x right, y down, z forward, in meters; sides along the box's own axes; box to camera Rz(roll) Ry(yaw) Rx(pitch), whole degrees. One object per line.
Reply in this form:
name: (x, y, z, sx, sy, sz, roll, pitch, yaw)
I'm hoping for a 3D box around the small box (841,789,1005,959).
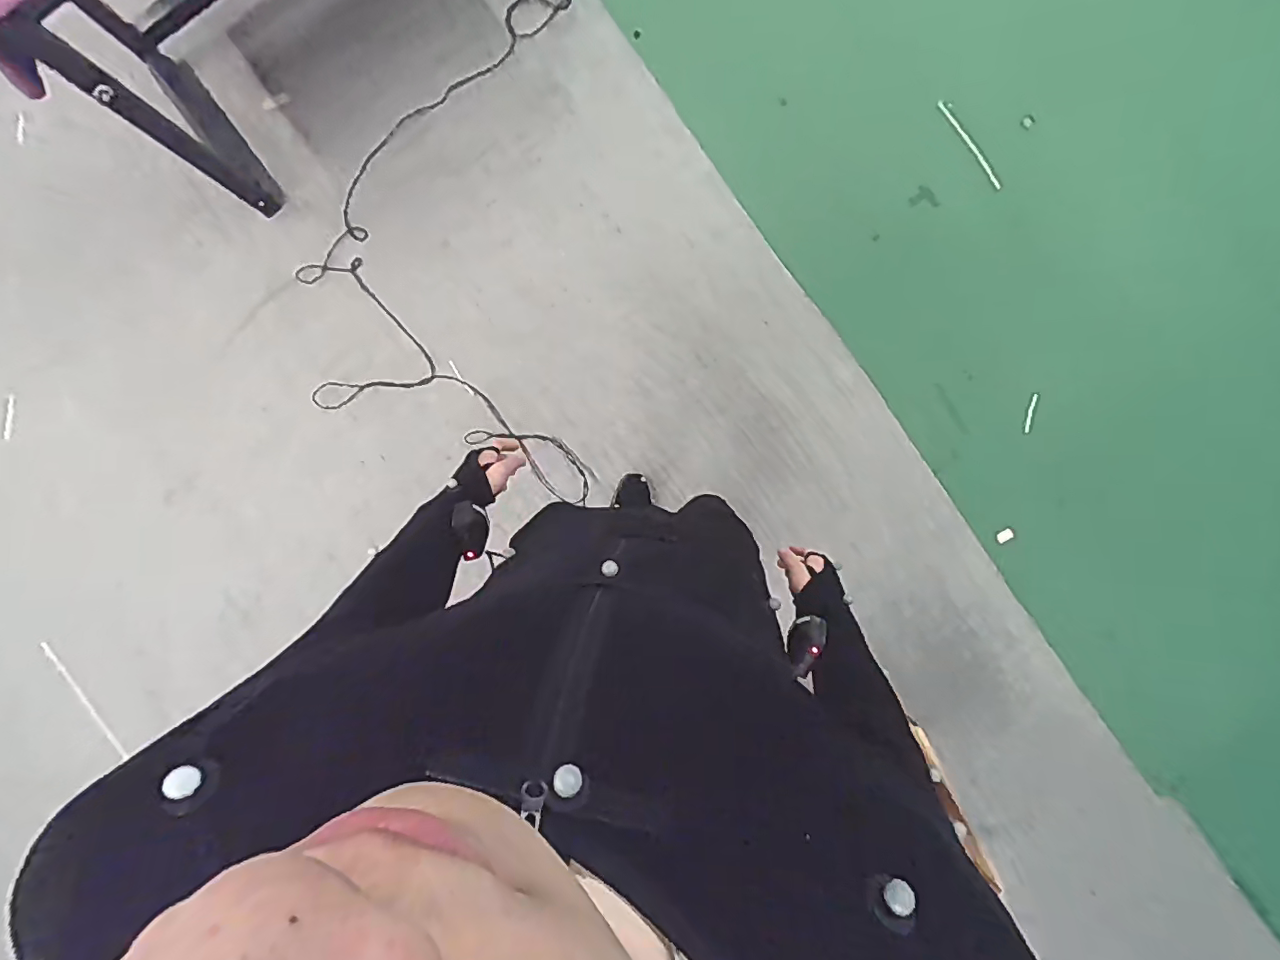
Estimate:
small box: (0.500, 0.715, 0.982, 0.168, 0.176, 0.179, -30, 90, 1)
